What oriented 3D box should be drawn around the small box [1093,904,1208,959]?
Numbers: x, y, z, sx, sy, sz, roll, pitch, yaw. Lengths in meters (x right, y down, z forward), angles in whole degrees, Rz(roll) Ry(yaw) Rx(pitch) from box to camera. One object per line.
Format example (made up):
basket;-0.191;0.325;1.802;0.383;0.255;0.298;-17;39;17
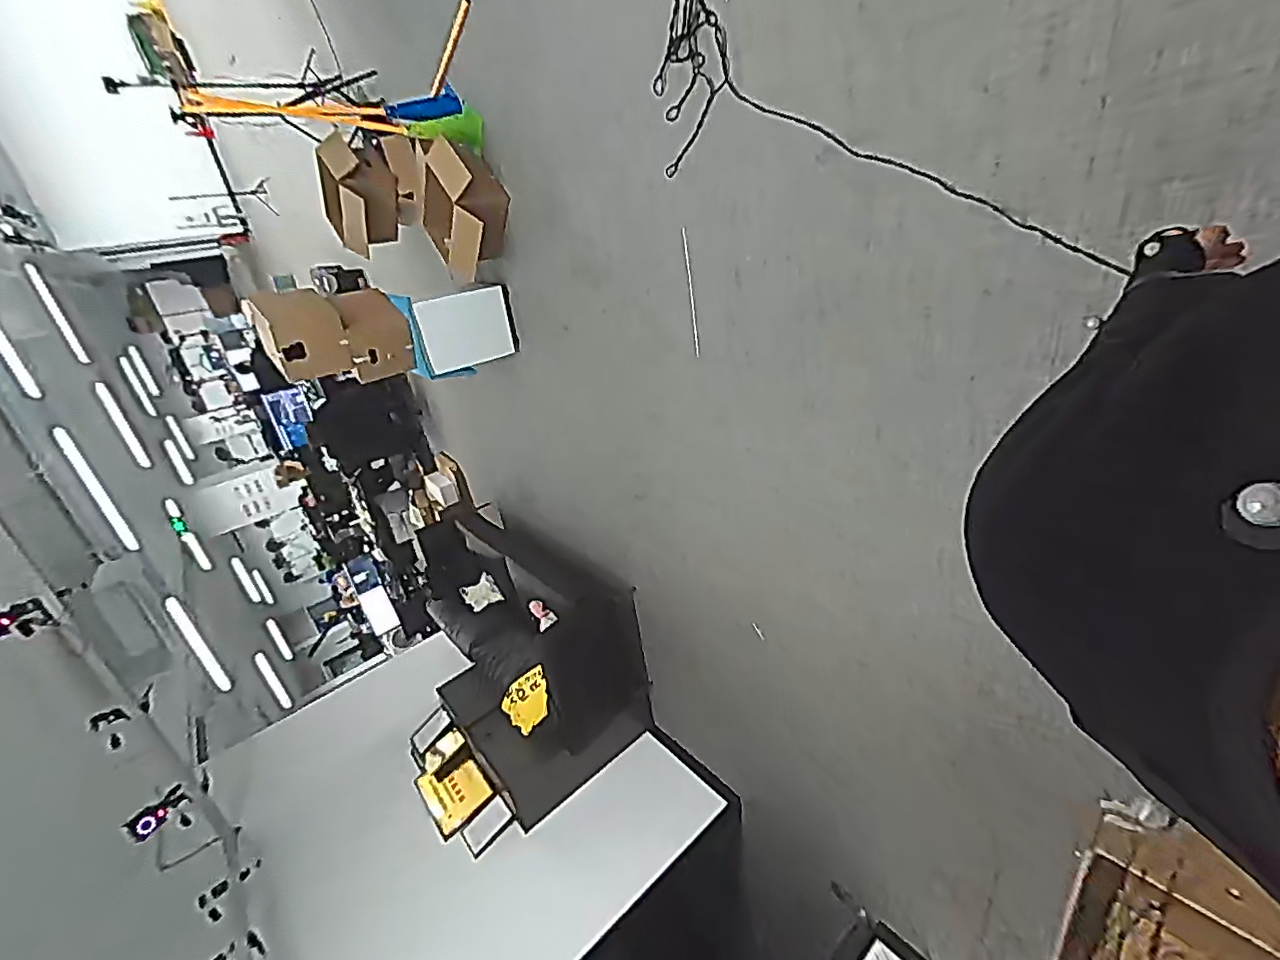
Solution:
small box;0.922;0.929;0.973;0.168;0.176;0.179;17;125;48
